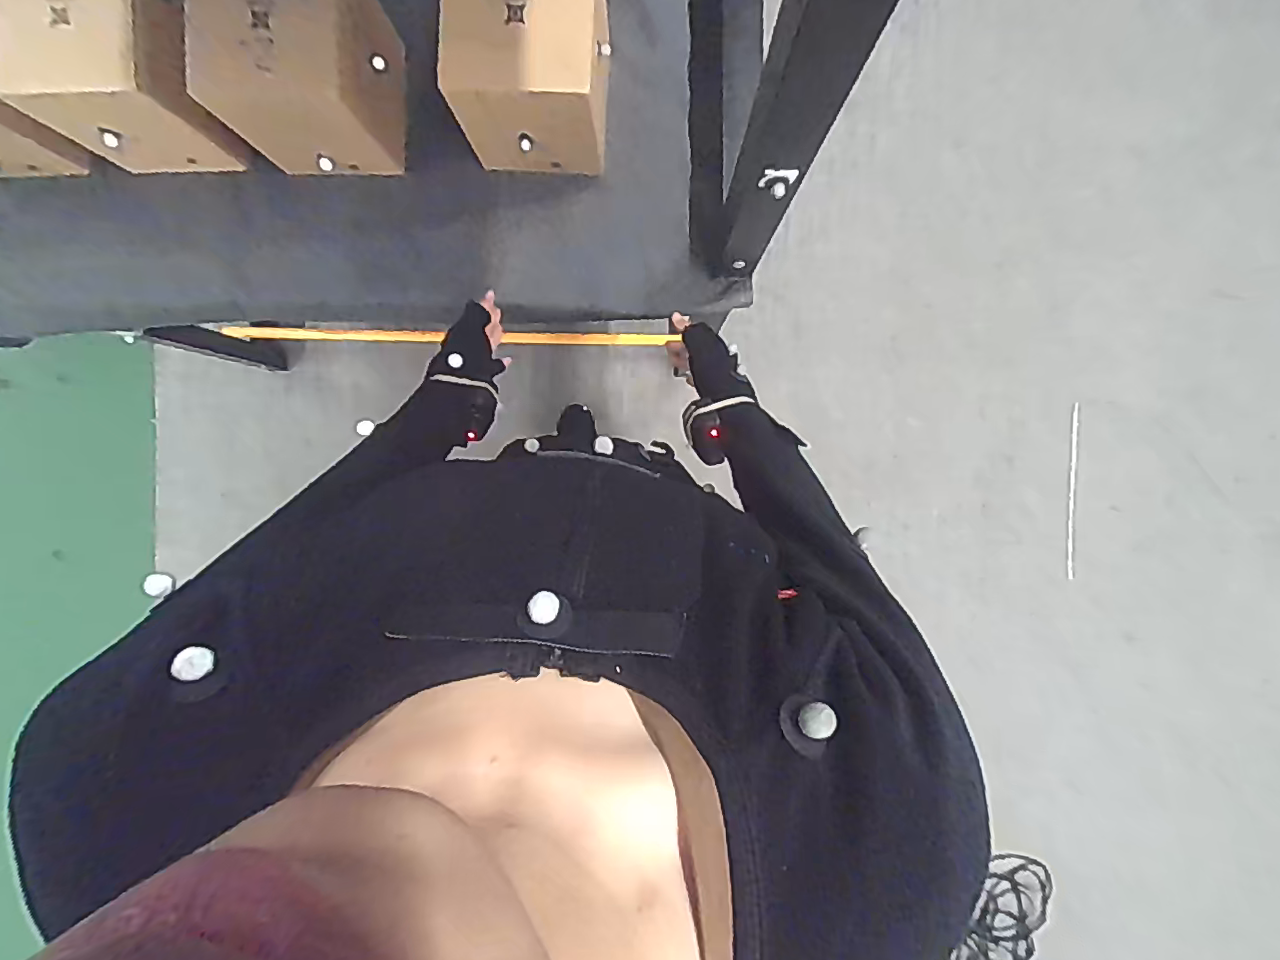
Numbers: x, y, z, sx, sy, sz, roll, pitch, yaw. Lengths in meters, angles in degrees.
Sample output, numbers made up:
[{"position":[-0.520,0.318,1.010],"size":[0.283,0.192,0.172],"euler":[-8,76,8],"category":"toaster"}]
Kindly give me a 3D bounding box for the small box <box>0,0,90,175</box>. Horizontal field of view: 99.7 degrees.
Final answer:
[{"position":[-0.841,-0.508,0.666],"size":[0.168,0.176,0.179],"euler":[-2,92,1],"category":"small box"}]

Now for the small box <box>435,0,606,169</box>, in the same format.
[{"position":[-0.132,-0.505,0.652],"size":[0.168,0.176,0.179],"euler":[4,92,0],"category":"small box"}]
